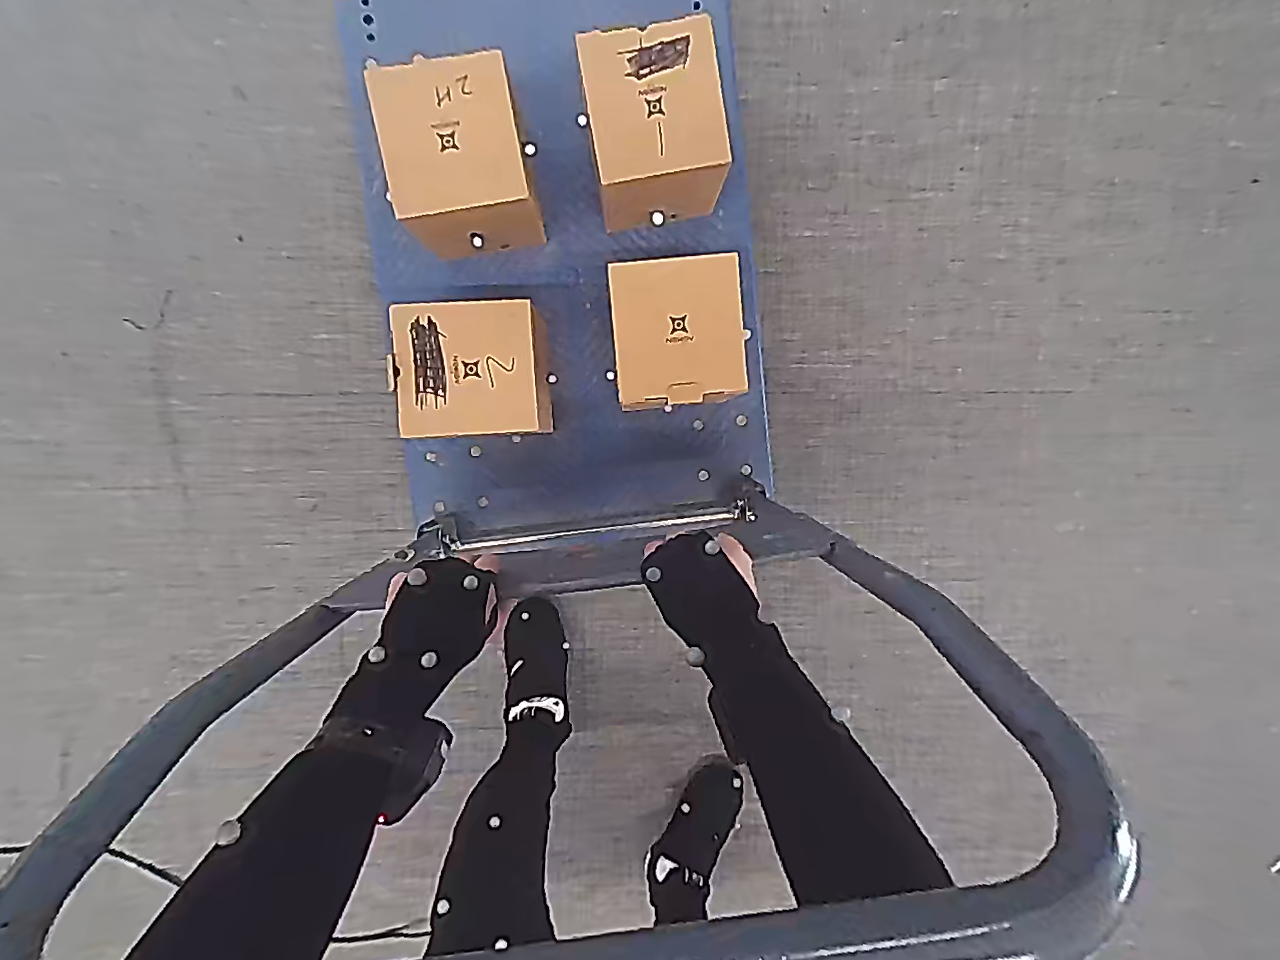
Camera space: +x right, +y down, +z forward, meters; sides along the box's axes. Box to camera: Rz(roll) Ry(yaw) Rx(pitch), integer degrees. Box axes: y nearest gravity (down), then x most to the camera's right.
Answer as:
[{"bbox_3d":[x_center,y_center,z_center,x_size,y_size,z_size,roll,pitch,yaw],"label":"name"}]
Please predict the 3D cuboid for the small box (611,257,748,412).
[{"bbox_3d":[0.046,-0.193,0.759,0.168,0.176,0.179,-5,95,-2],"label":"small box"}]

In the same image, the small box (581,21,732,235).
[{"bbox_3d":[0.017,-0.461,0.733,0.168,0.176,0.179,-10,96,0],"label":"small box"}]

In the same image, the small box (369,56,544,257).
[{"bbox_3d":[-0.231,-0.415,0.729,0.168,0.176,0.179,-10,95,-2],"label":"small box"}]
